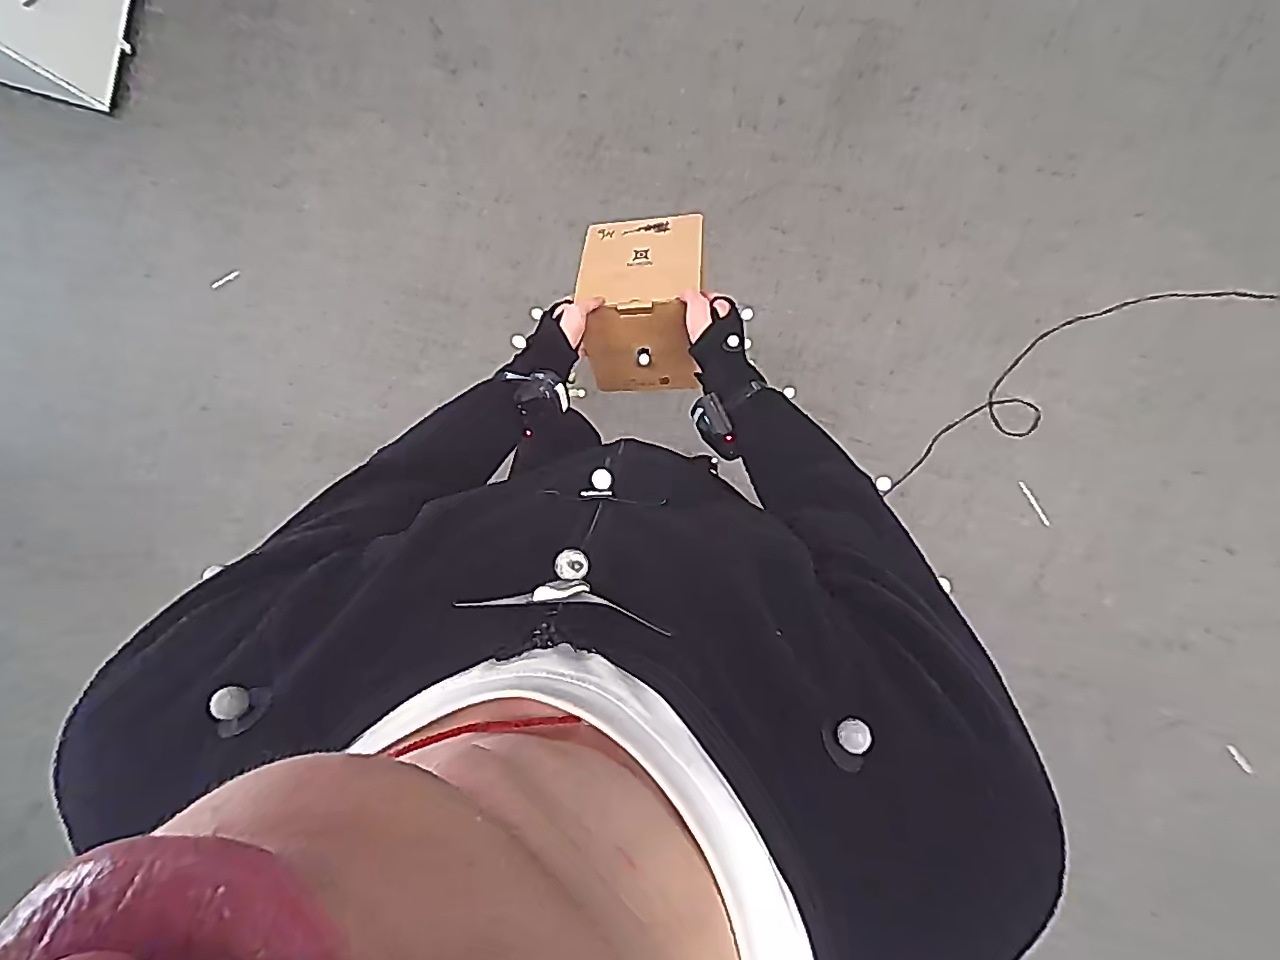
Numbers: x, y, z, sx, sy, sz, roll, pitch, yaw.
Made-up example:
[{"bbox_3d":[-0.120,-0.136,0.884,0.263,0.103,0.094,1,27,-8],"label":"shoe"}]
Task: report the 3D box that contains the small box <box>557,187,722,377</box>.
[{"bbox_3d":[0.006,-0.281,0.788,0.179,0.176,0.168,-27,56,-5],"label":"small box"}]
